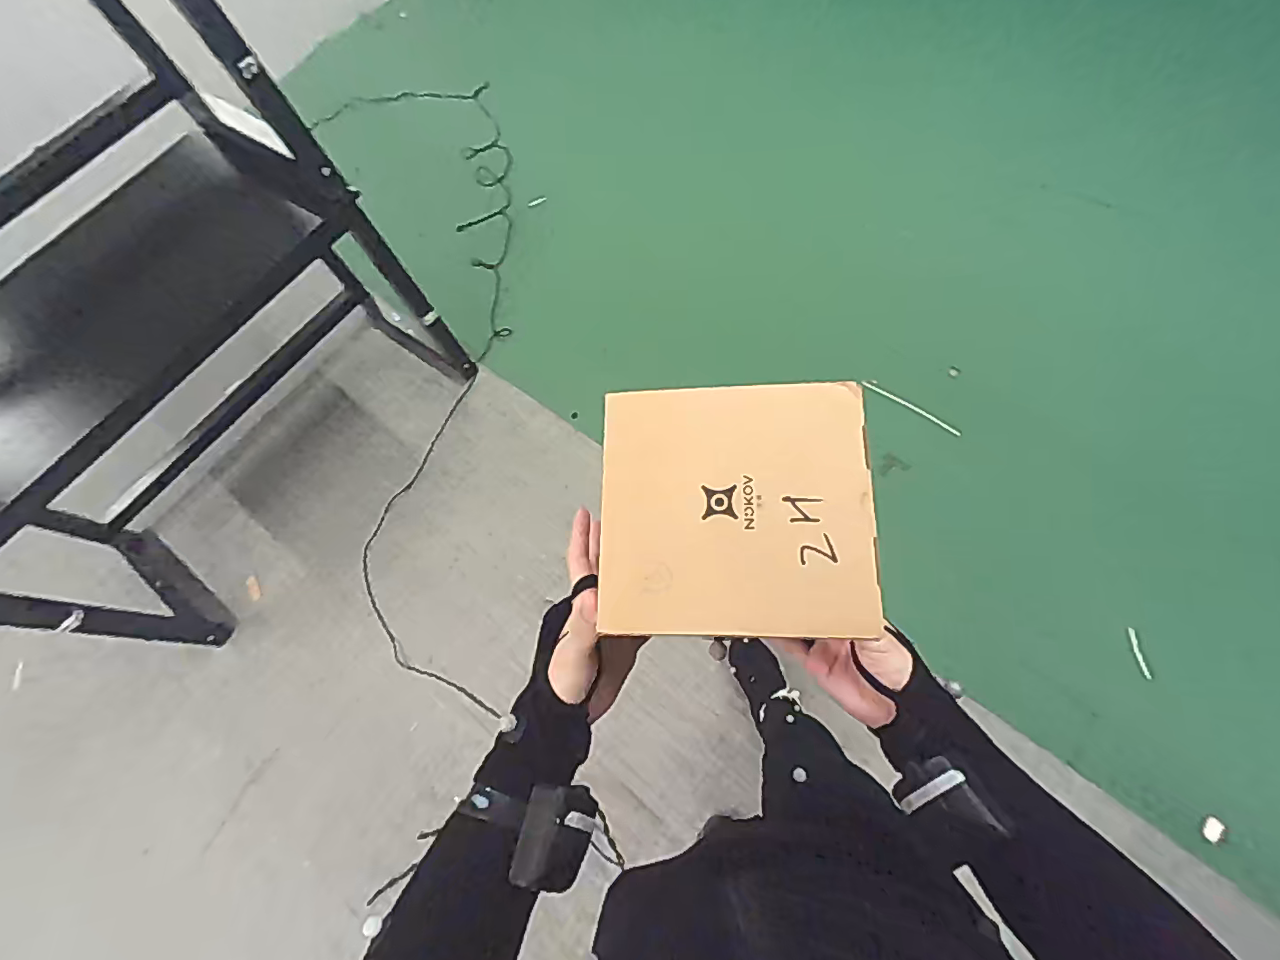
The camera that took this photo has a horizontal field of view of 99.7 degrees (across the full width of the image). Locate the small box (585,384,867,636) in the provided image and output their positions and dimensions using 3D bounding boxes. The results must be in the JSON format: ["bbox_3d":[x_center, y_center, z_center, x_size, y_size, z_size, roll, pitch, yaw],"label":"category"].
[{"bbox_3d":[0.064,0.037,0.431,0.179,0.176,0.168,-2,75,8],"label":"small box"}]
